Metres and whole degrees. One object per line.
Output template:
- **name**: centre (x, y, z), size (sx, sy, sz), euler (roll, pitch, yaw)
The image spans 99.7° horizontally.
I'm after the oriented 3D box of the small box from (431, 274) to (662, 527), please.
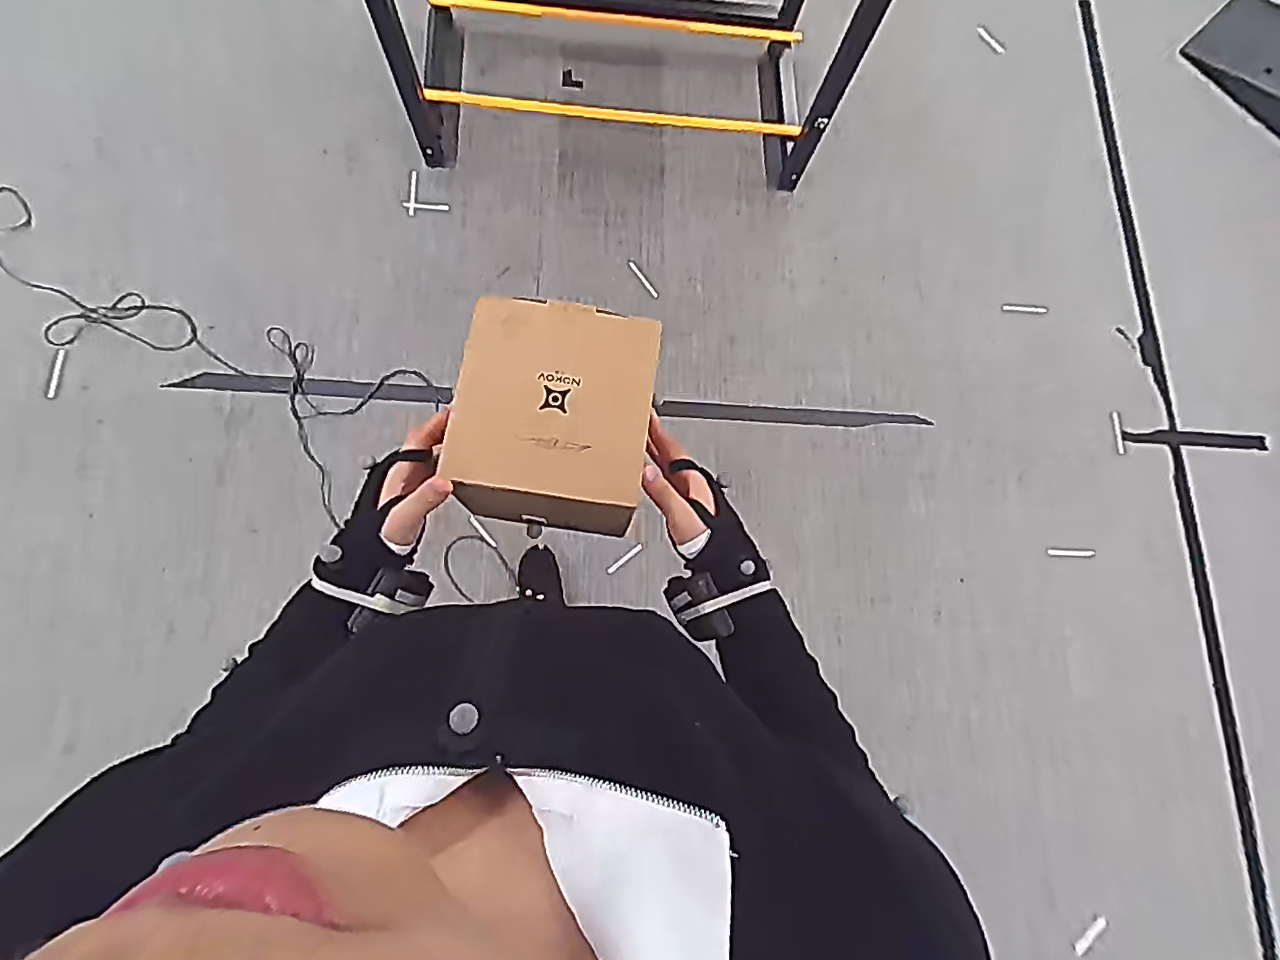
- **small box**: centre (-0.081, -0.063, 0.524), size (0.168, 0.176, 0.179), euler (9, 75, -3)
